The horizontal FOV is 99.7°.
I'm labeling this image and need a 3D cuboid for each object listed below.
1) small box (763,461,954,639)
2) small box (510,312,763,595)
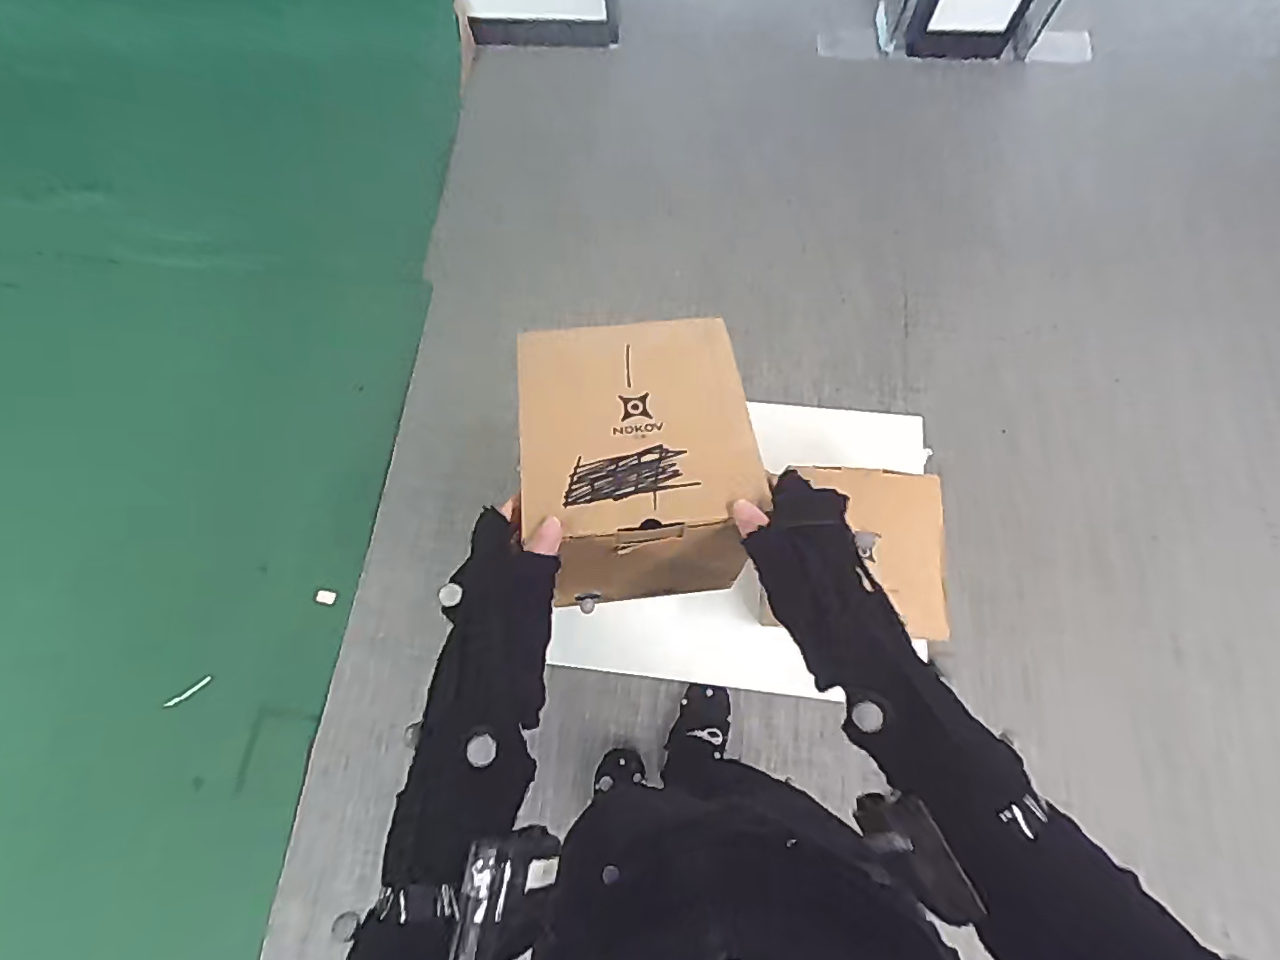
[{"bbox_3d":[0.239,0.088,0.633,0.168,0.176,0.179,3,76,5],"label":"small box"},{"bbox_3d":[-0.009,-0.010,0.451,0.168,0.176,0.179,-6,63,-4],"label":"small box"}]
